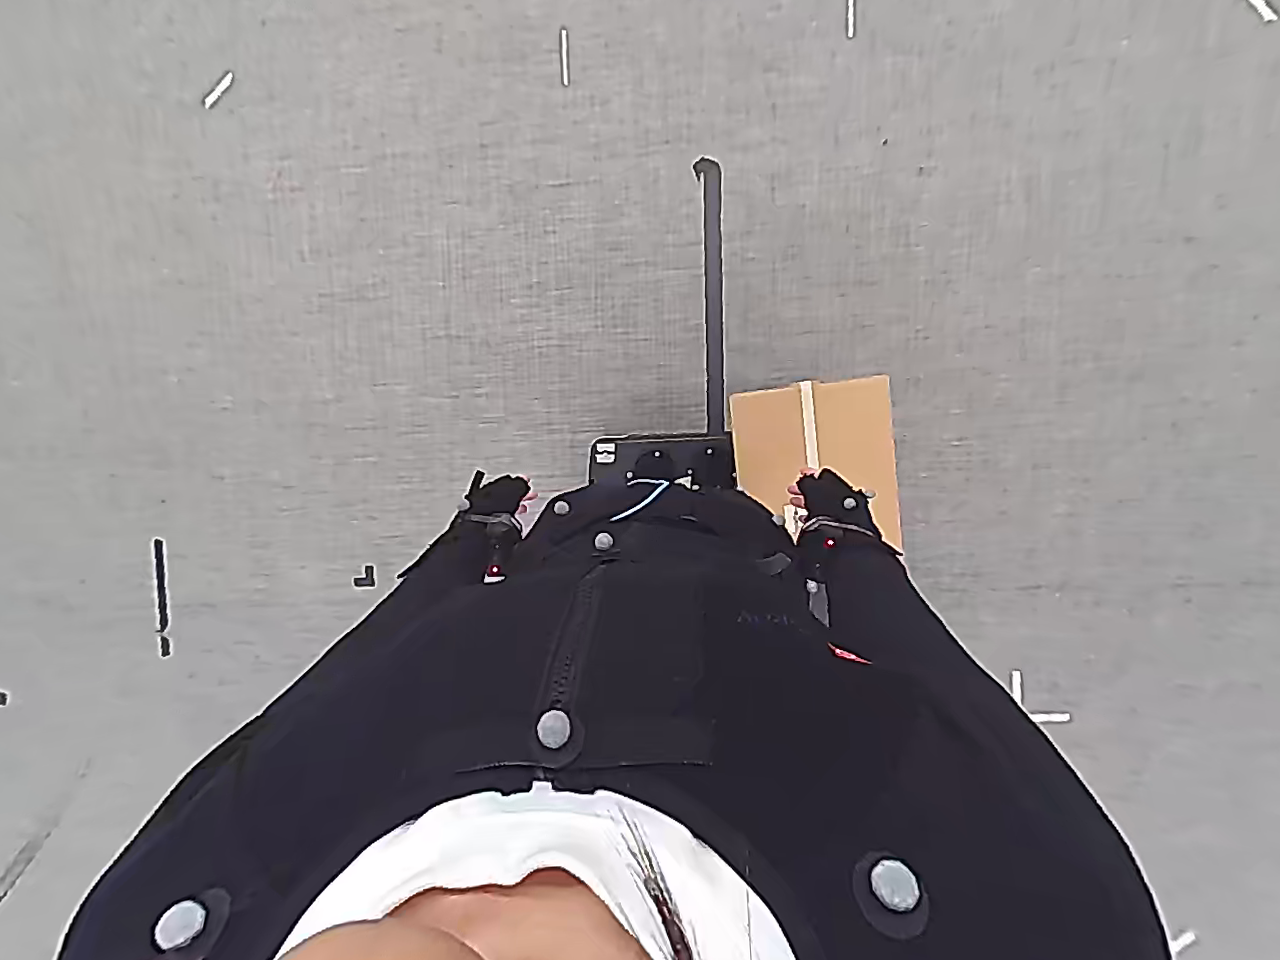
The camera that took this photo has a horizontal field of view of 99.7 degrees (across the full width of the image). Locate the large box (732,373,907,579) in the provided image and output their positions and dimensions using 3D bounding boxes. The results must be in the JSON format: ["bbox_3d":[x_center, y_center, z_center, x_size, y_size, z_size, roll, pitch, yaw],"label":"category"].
[{"bbox_3d":[0.395,-0.017,1.251,0.320,0.320,0.408,-6,95,13],"label":"large box"}]
